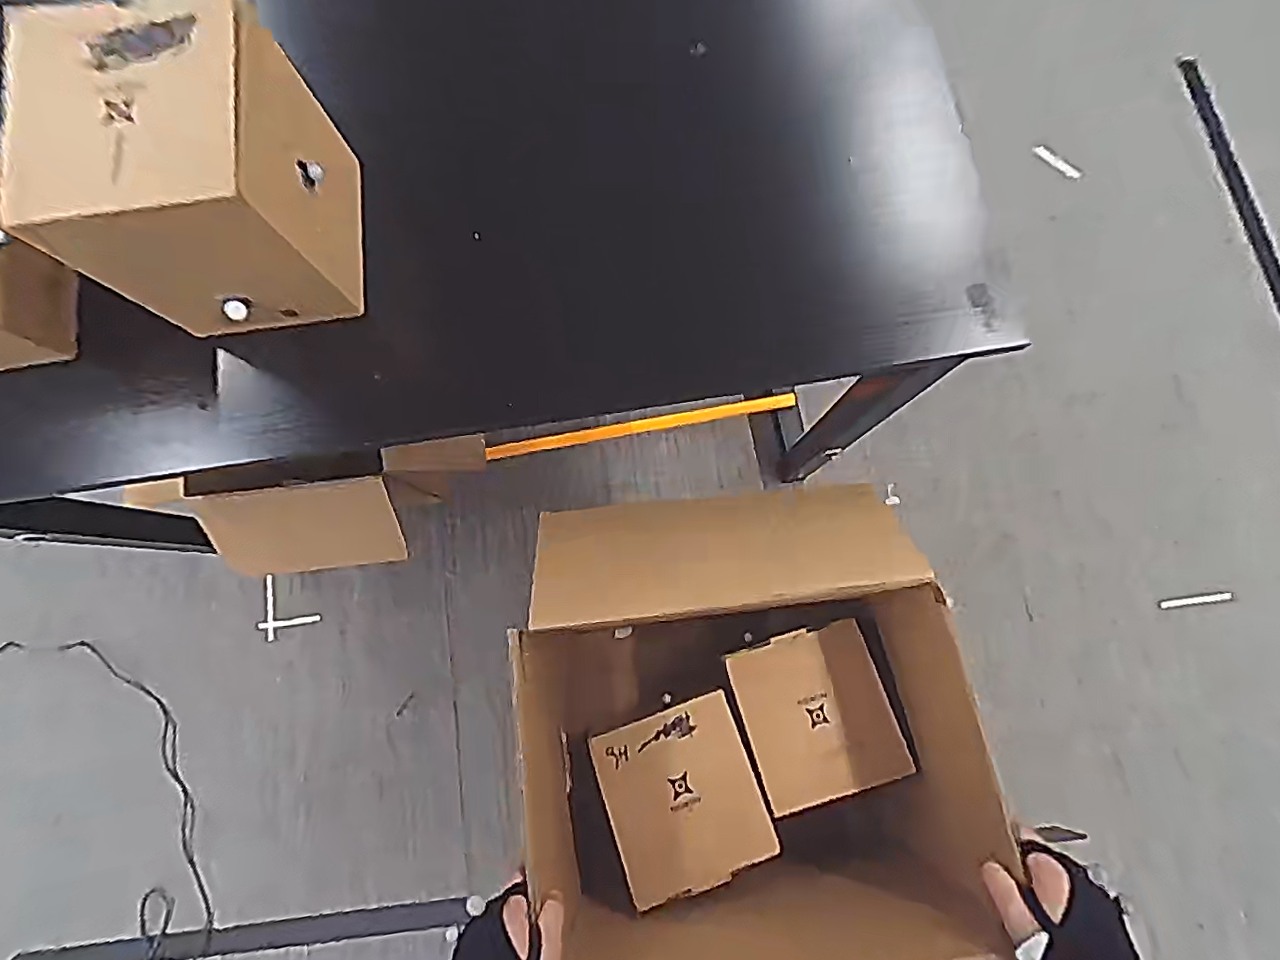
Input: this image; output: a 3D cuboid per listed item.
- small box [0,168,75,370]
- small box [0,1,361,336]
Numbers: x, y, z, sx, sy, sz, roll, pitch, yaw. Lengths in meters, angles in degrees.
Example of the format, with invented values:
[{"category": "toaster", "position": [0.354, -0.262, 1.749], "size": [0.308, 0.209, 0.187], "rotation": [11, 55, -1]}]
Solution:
[{"category": "small box", "position": [-0.641, -0.197, 0.456], "size": [0.179, 0.176, 0.168], "rotation": [-9, 78, -1]}, {"category": "small box", "position": [-0.361, -0.247, 0.462], "size": [0.168, 0.176, 0.179], "rotation": [-8, 79, 0]}]
